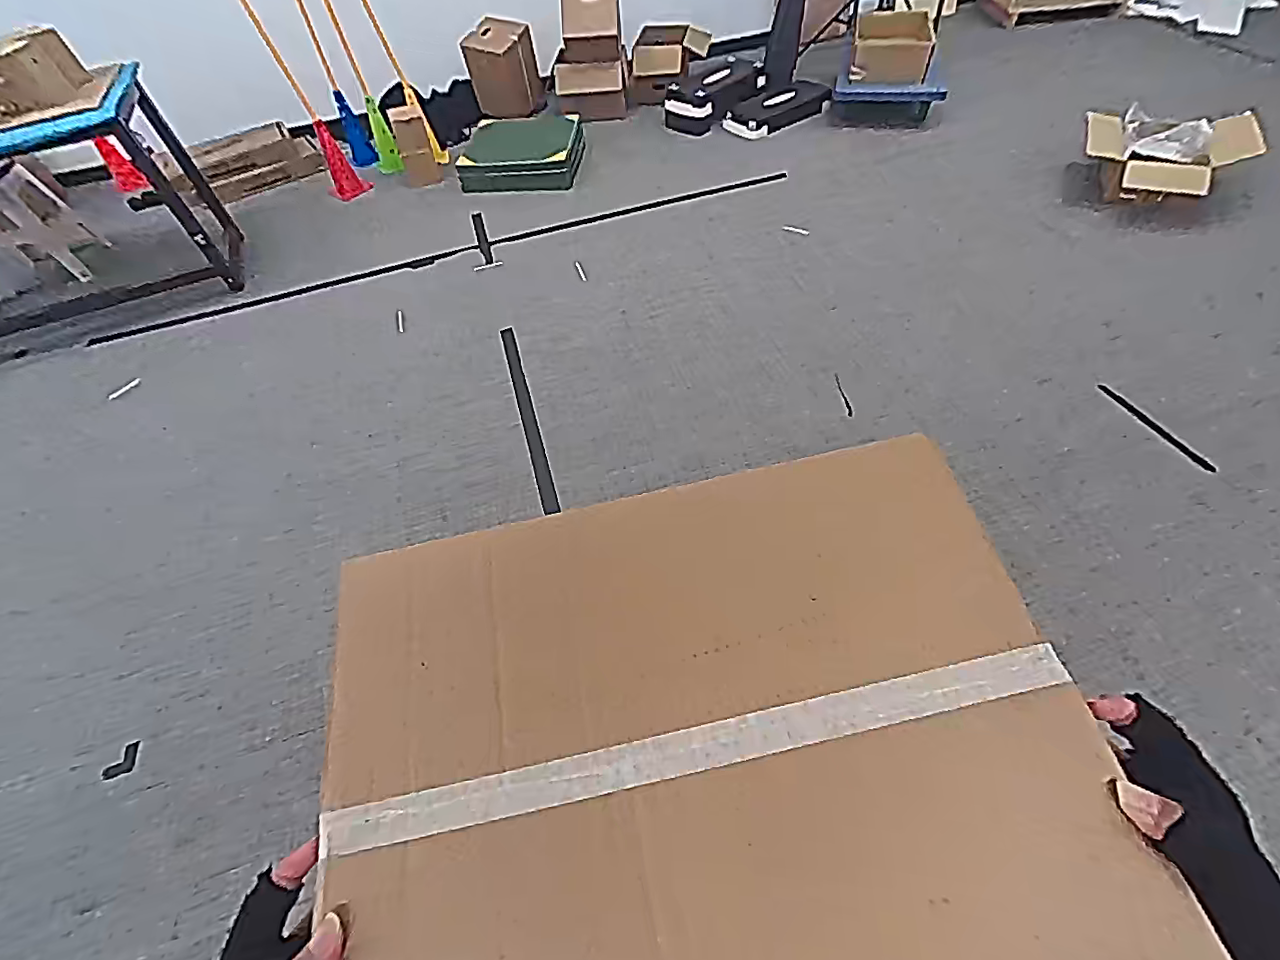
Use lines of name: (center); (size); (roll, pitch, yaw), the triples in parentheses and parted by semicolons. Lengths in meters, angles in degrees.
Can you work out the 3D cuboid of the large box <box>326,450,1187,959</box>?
large box: (0.042, 0.222, 0.431); (0.408, 0.320, 0.320); (-13, 60, -1)
